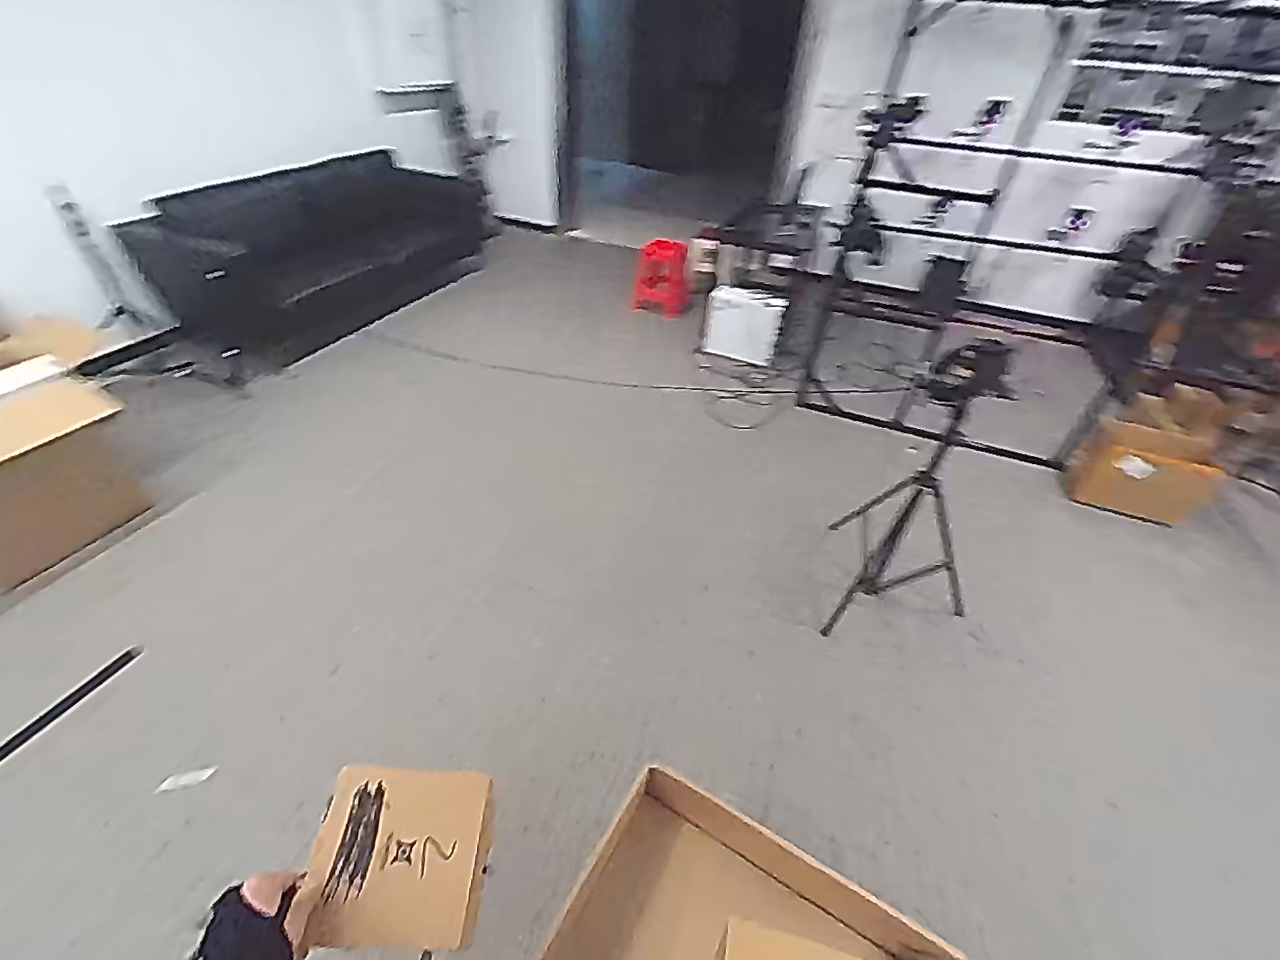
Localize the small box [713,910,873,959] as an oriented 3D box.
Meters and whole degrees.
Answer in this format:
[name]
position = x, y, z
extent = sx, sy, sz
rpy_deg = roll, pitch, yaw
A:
[small box]
position = 0.167, 0.651, 0.624
extent = 0.179, 0.176, 0.168
rpy_deg = 12, 32, 10
